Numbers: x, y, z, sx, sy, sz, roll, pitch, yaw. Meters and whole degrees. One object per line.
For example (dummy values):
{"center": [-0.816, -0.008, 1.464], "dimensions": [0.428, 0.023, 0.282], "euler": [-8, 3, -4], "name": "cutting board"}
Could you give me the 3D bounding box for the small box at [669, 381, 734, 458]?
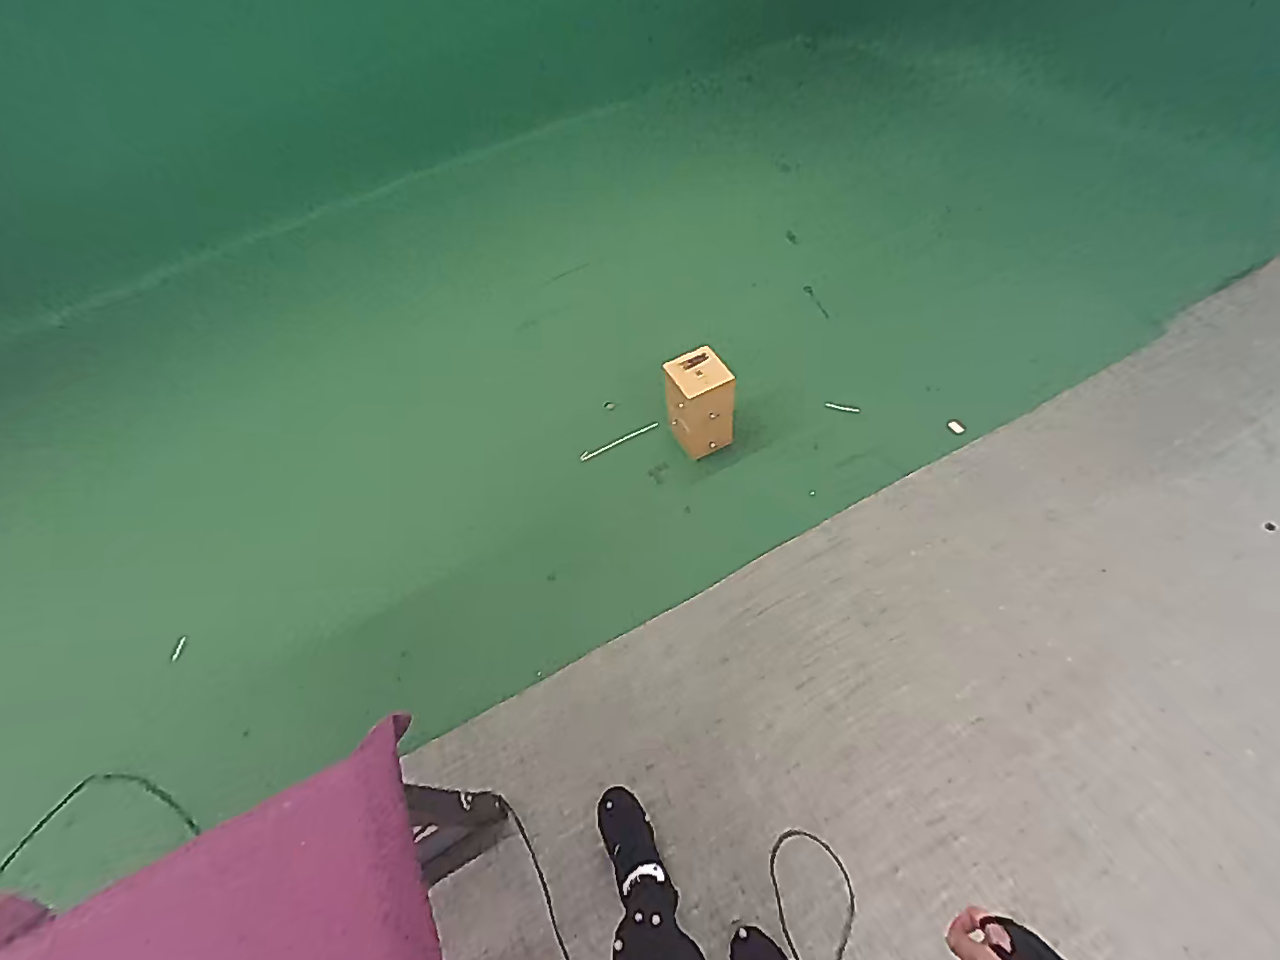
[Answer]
{"center": [0.216, -0.211, 1.904], "dimensions": [0.168, 0.176, 0.179], "euler": [-25, 57, -8], "name": "small box"}
